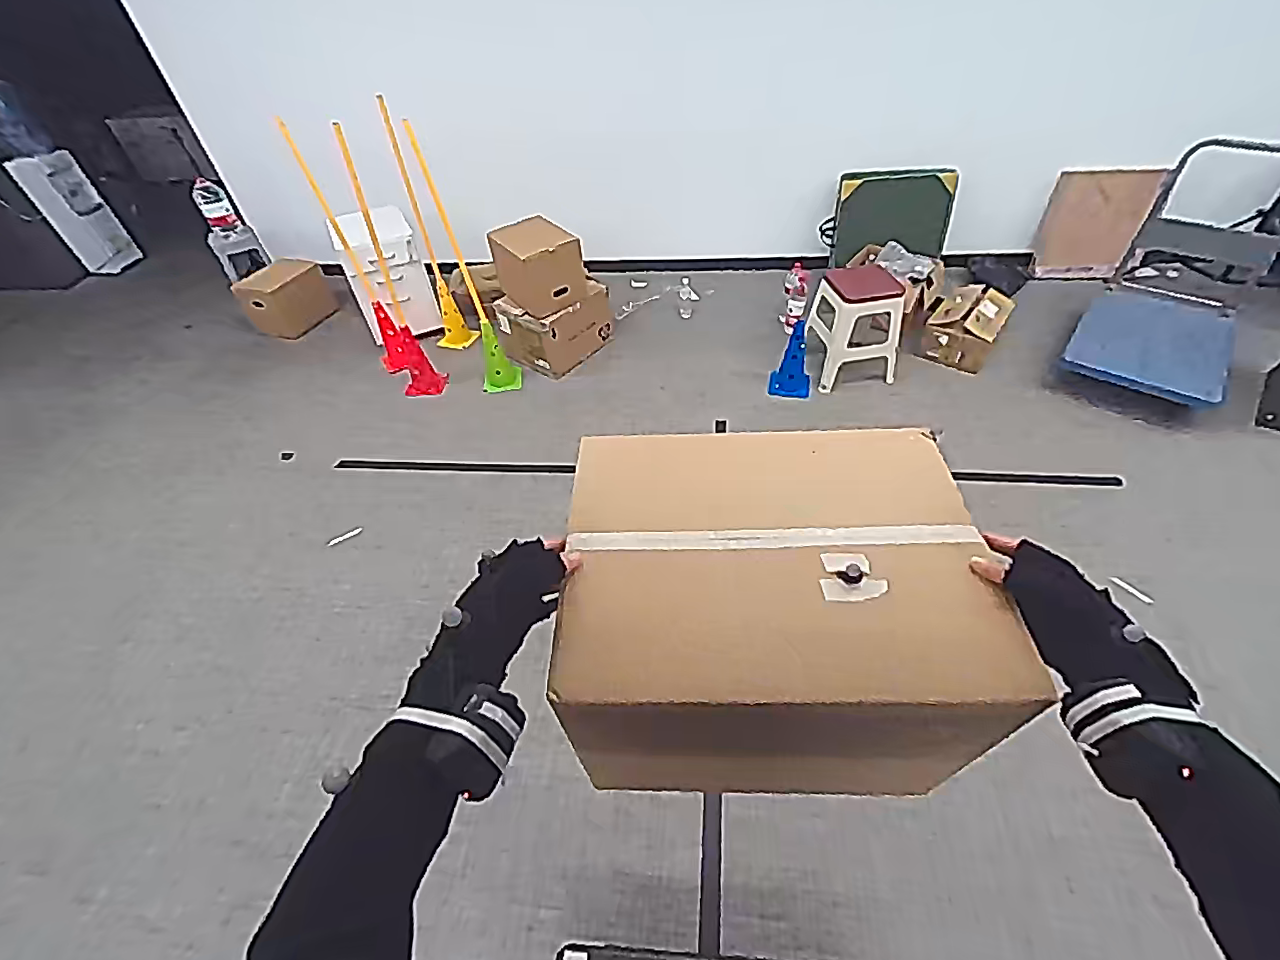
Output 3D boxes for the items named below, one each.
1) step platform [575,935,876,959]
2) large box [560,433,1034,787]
[{"bbox_3d":[0.183,1.132,1.098,0.684,0.204,0.286,1,47,4],"label":"step platform"},{"bbox_3d":[0.135,0.164,0.658,0.408,0.320,0.320,-1,49,3],"label":"large box"}]
